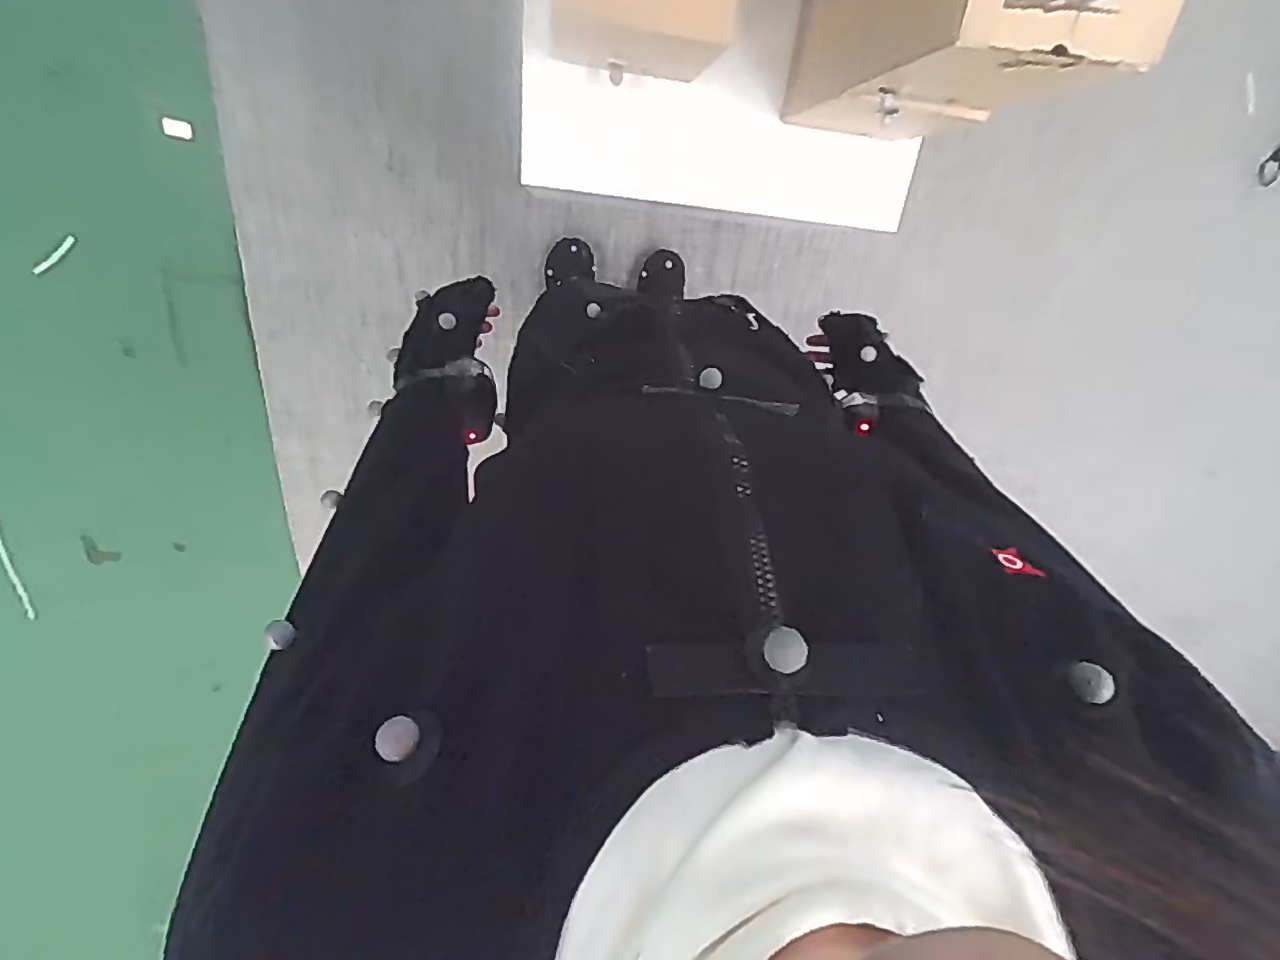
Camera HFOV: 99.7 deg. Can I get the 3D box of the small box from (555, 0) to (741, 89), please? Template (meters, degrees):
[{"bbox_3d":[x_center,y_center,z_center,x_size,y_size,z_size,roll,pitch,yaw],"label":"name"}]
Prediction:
[{"bbox_3d":[0.003,-0.507,0.522,0.168,0.176,0.179,1,117,-9],"label":"small box"}]

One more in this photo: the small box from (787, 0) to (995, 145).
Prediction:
[{"bbox_3d":[0.274,-0.478,0.574,0.168,0.176,0.179,3,115,-9],"label":"small box"}]

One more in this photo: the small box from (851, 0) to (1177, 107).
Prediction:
[{"bbox_3d":[0.290,-0.414,0.423,0.168,0.176,0.179,0,115,-8],"label":"small box"}]
